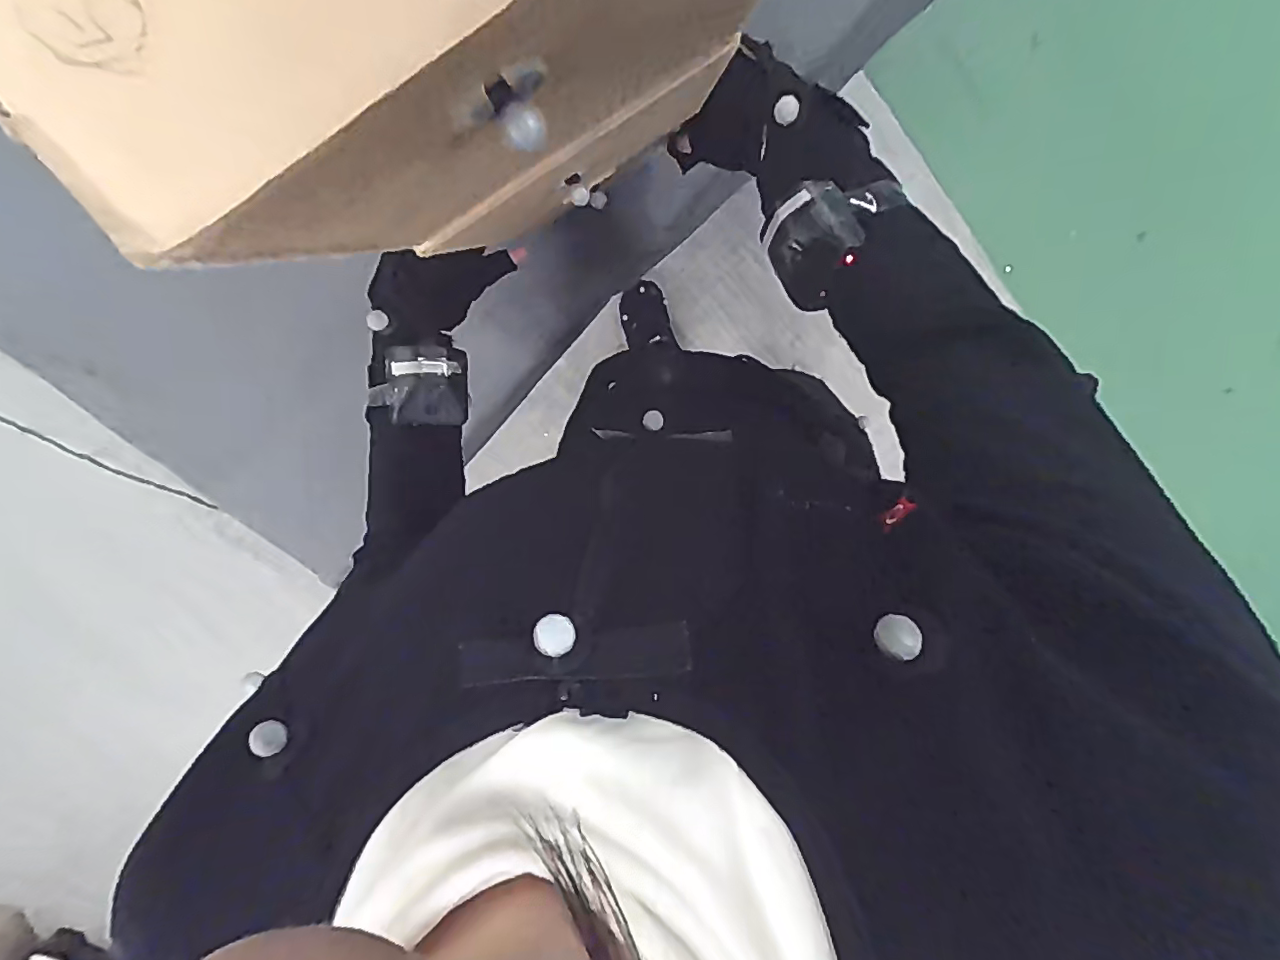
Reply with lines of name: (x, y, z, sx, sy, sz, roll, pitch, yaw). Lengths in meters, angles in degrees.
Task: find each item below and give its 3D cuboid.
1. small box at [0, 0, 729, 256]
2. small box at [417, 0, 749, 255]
small box: (-0.071, -0.180, 0.140, 0.179, 0.176, 0.168, -27, 114, 11)
small box: (-0.070, -0.246, 0.288, 0.179, 0.176, 0.168, -30, 113, 12)
